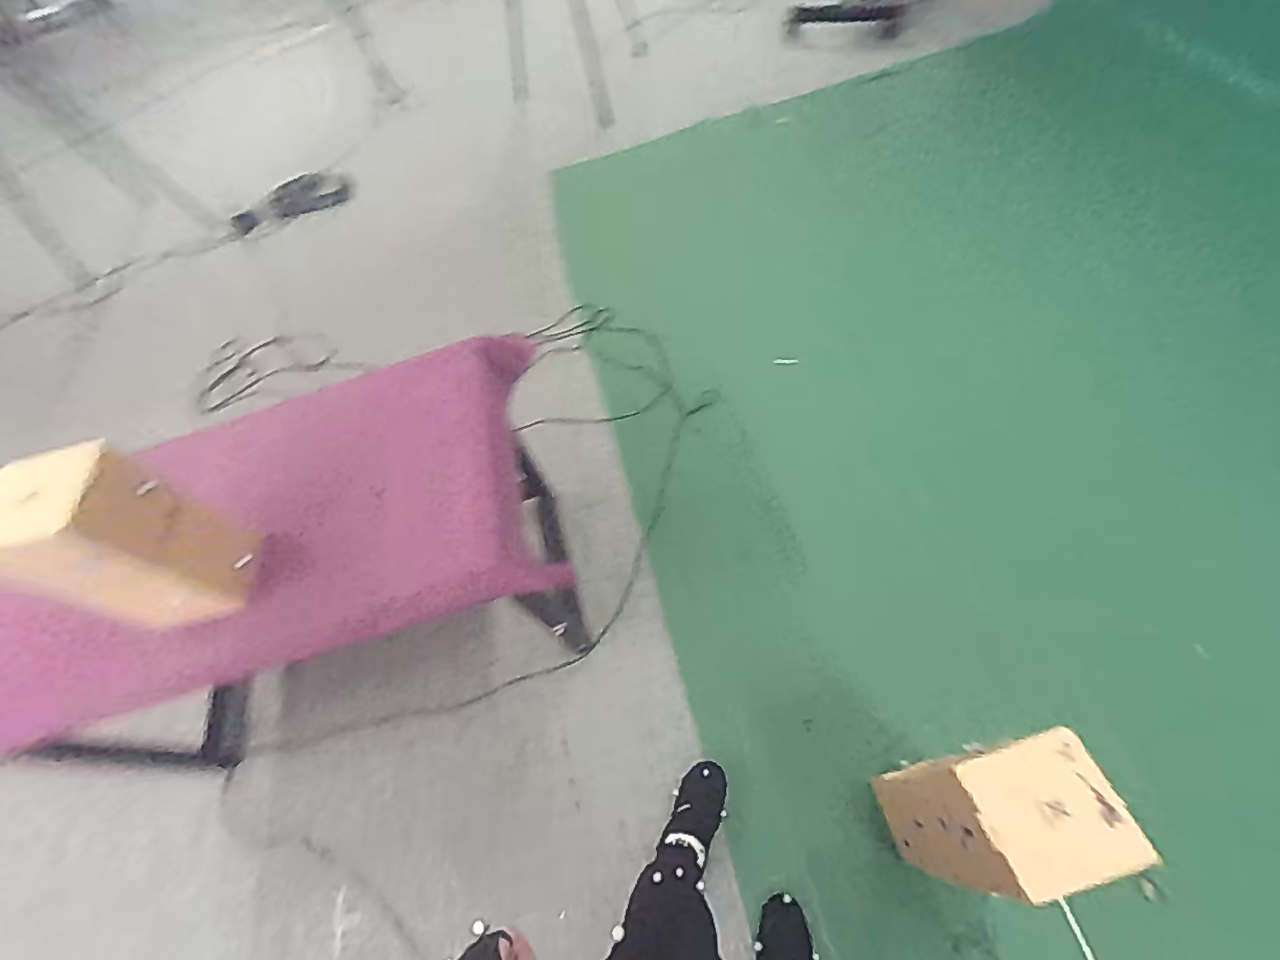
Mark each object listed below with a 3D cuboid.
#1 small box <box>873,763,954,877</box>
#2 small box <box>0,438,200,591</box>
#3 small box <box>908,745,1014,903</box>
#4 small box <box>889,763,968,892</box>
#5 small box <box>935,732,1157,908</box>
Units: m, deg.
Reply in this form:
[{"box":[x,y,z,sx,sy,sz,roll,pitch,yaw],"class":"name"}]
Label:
[{"box":[0.640,0.740,1.189,0.168,0.176,0.179,-17,57,1],"class":"small box"},{"box":[-0.868,0.061,0.868,0.179,0.176,0.168,-13,57,3],"class":"small box"},{"box":[0.587,0.575,0.913,0.168,0.176,0.179,-21,57,0],"class":"small box"},{"box":[0.615,0.662,1.049,0.168,0.176,0.179,-19,56,0],"class":"small box"},{"box":[0.556,0.485,0.780,0.179,0.176,0.168,-20,57,1],"class":"small box"}]
